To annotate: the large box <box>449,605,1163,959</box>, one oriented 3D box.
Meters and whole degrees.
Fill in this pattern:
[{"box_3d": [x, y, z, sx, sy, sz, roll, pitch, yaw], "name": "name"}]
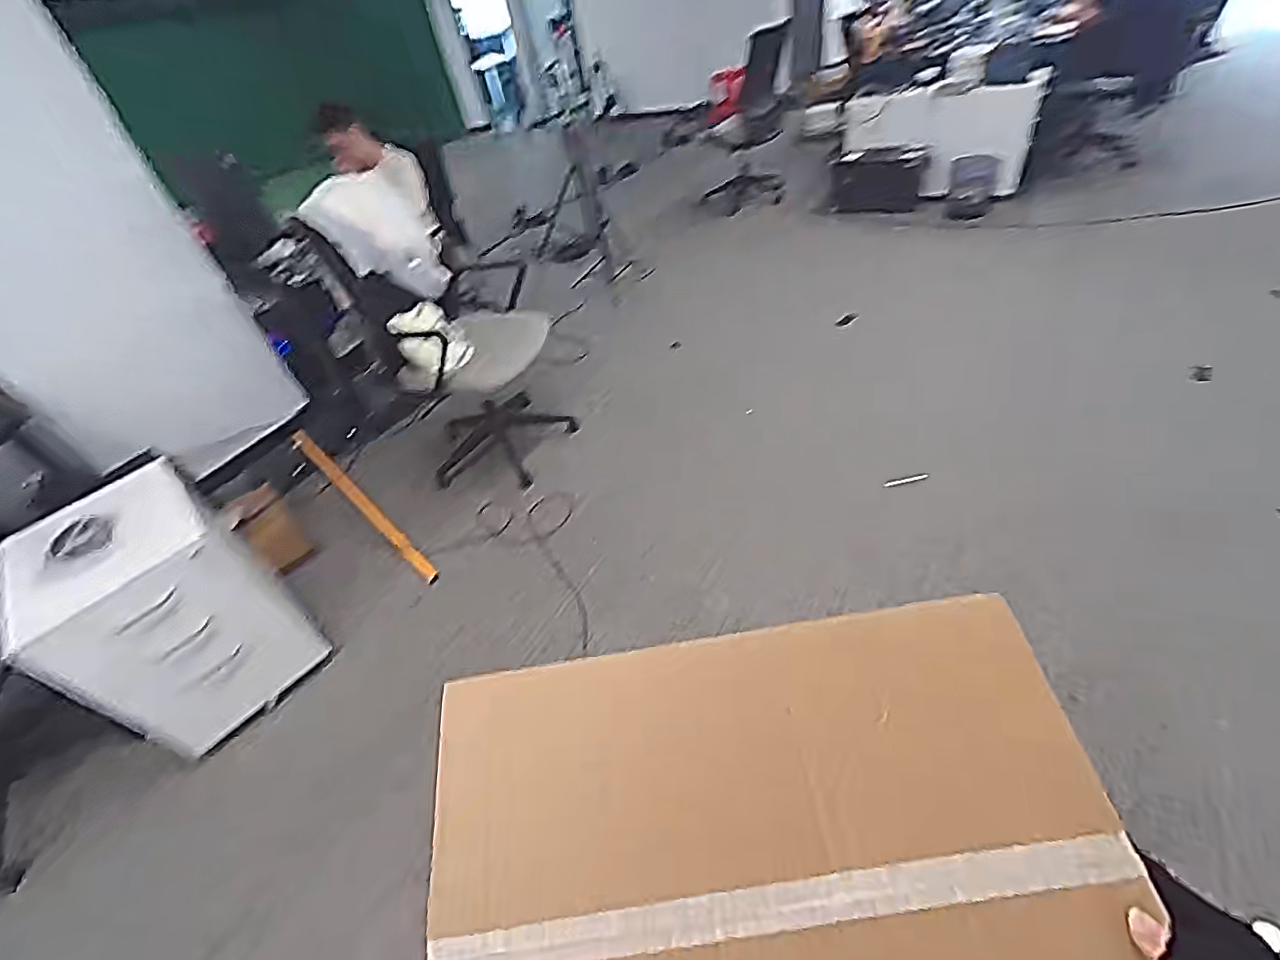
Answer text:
[{"box_3d": [0.095, 0.329, 0.445, 0.408, 0.320, 0.320, -9, 58, 2], "name": "large box"}]
